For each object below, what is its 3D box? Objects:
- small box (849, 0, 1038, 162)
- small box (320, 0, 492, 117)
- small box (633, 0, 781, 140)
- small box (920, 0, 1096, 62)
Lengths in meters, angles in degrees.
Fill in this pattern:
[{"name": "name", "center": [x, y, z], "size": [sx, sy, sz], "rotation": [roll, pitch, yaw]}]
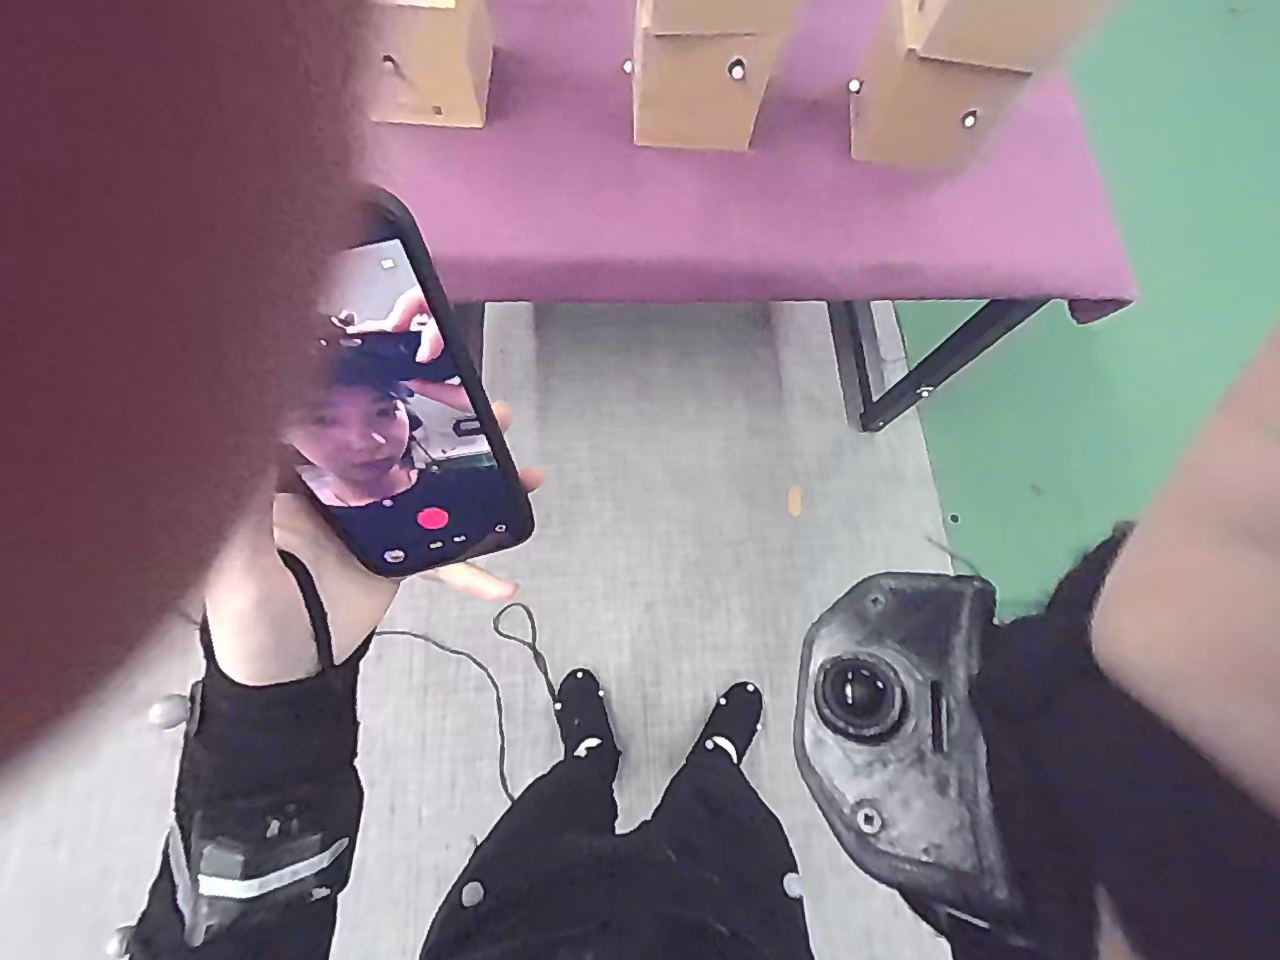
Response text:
[{"name": "small box", "center": [0.423, -0.594, 0.776], "size": [0.179, 0.176, 0.168], "rotation": [7, 74, -1]}, {"name": "small box", "center": [-0.306, -0.639, 0.742], "size": [0.168, 0.176, 0.179], "rotation": [1, 74, -3]}, {"name": "small box", "center": [0.083, -0.613, 0.758], "size": [0.179, 0.176, 0.168], "rotation": [1, 74, -3]}, {"name": "small box", "center": [0.441, -0.623, 0.615], "size": [0.179, 0.176, 0.168], "rotation": [7, 74, -2]}]
